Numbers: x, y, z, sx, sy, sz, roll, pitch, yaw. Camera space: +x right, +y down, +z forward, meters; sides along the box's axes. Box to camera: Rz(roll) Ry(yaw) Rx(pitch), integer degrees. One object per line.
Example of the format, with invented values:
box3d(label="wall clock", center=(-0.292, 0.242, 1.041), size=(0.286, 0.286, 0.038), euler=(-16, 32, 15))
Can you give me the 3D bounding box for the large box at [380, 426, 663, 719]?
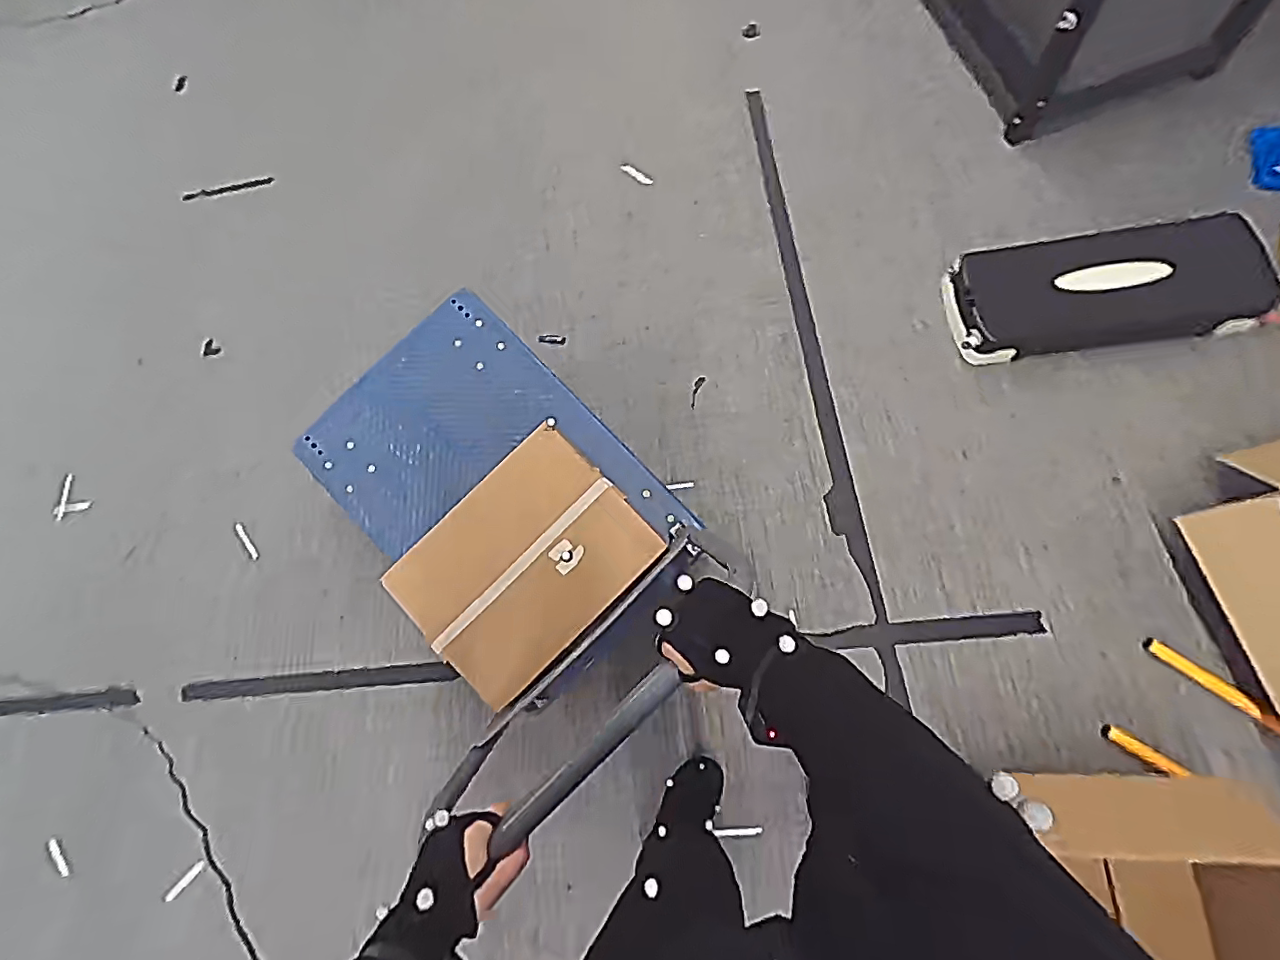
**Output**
box3d(label="large box", center=(-0.197, 0.171, 1.061), size=(0.408, 0.320, 0.320), euler=(-45, 84, -4))
